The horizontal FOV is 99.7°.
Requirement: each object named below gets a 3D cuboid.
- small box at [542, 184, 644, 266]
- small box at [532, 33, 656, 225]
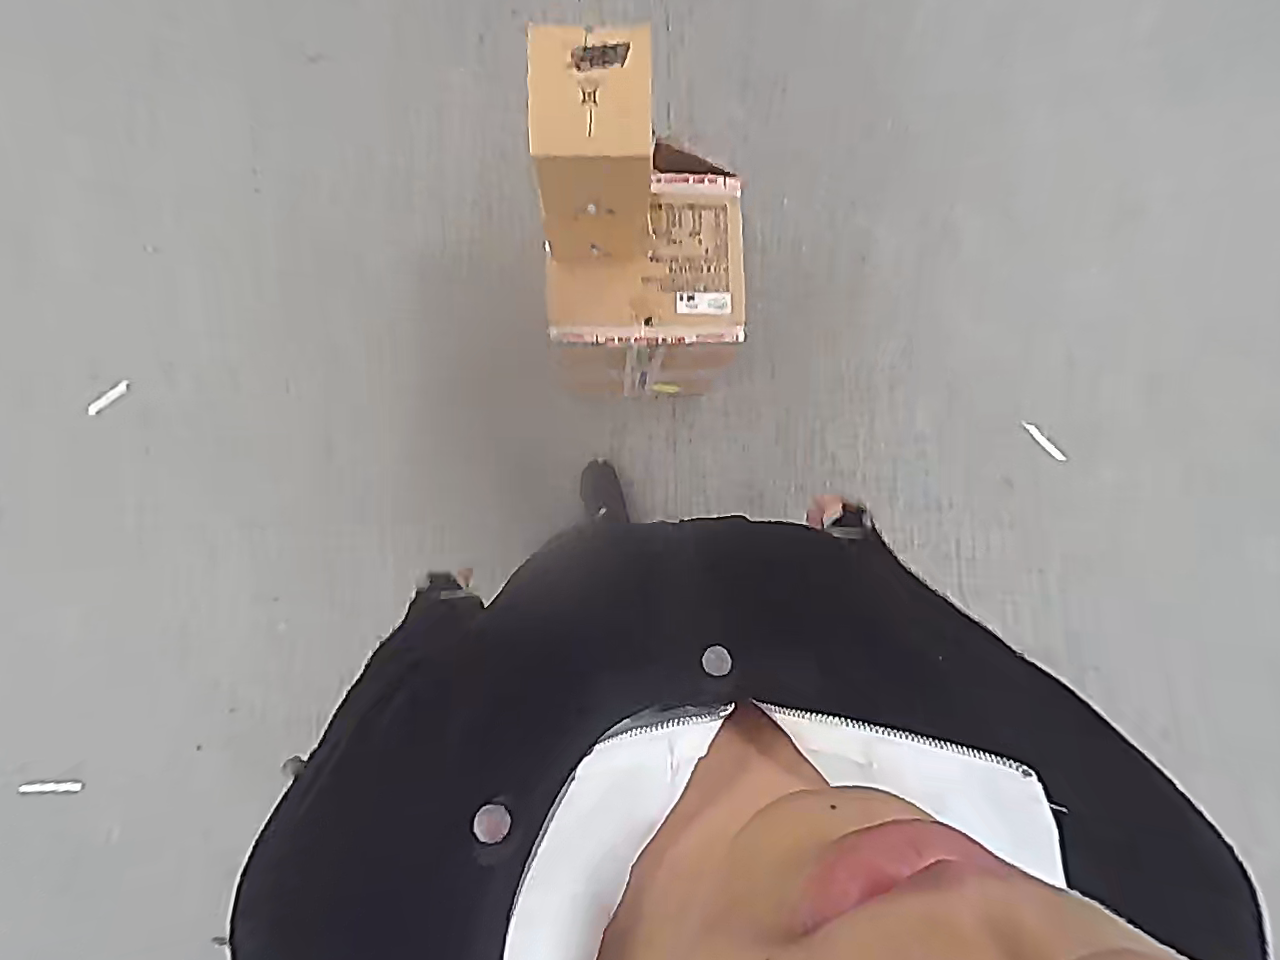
[{"bbox_3d":[-0.082,-0.504,0.961,0.168,0.176,0.179,-4,89,-1],"label":"small box"},{"bbox_3d":[-0.063,-0.504,0.796,0.168,0.176,0.179,-1,89,-1],"label":"small box"}]
